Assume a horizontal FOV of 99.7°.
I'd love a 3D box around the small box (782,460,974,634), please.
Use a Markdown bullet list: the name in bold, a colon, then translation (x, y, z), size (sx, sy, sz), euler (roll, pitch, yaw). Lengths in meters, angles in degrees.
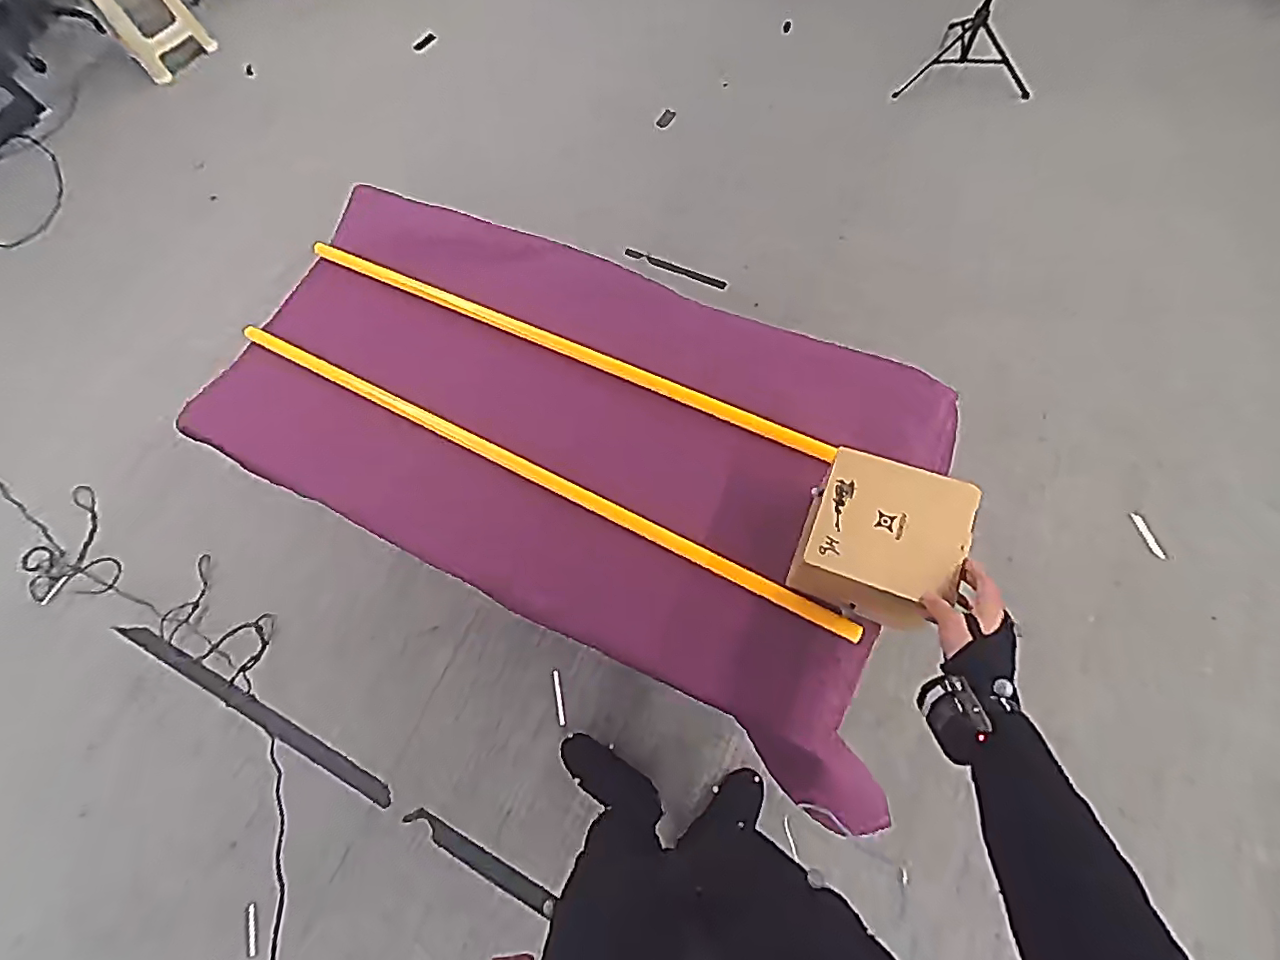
- **small box**: translation (0.310, 0.100, 0.736), size (0.179, 0.176, 0.168), euler (20, 72, 14)
